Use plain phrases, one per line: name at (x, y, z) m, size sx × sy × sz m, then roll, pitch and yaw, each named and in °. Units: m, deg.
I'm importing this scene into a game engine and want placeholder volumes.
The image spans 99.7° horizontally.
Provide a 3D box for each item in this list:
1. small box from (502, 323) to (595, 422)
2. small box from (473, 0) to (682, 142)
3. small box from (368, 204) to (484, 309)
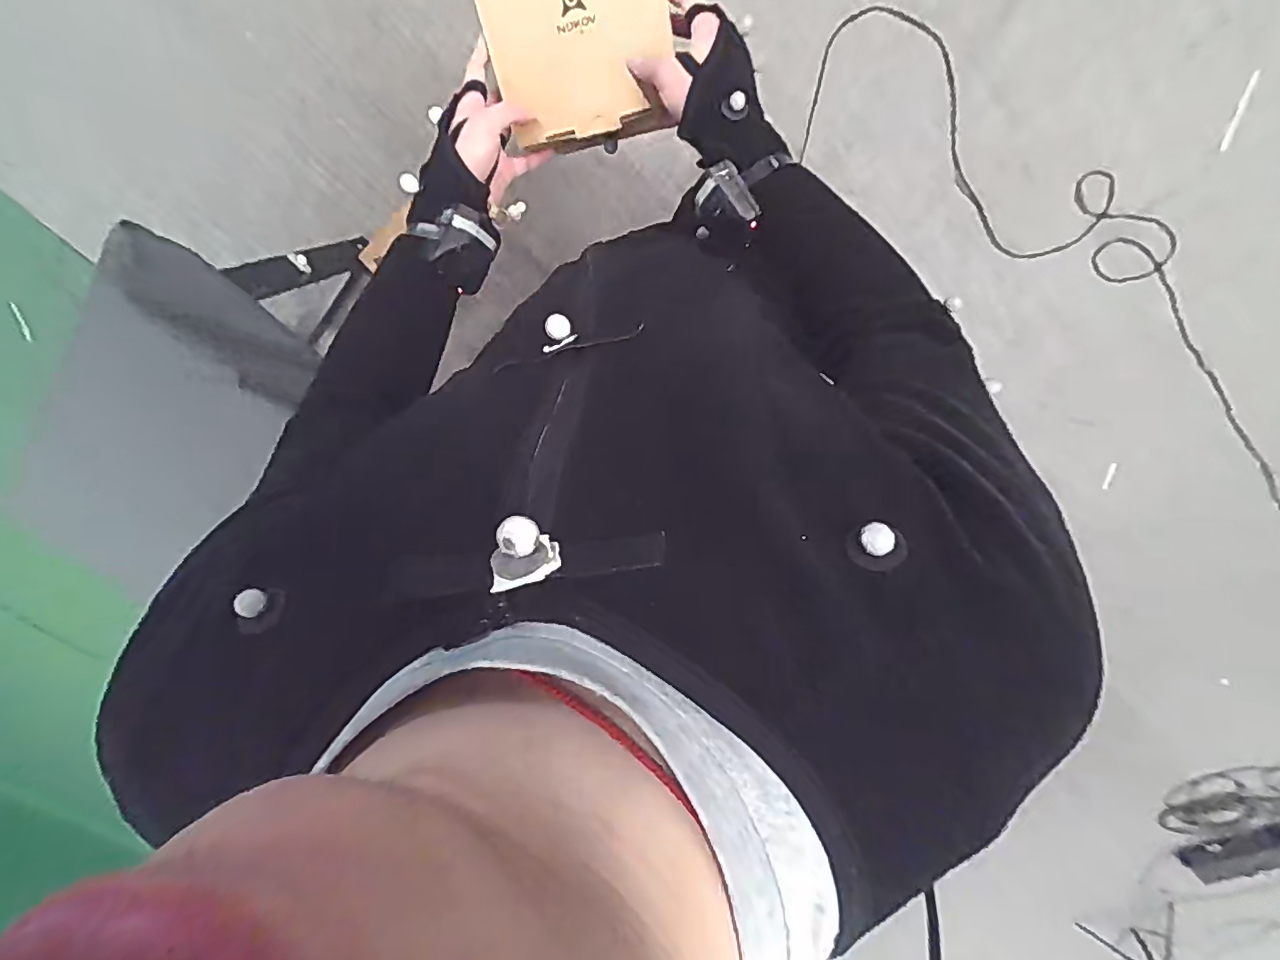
small box at (-0.237, -0.295, 1.461) m, size 0.179 × 0.176 × 0.168 m, roll -36°, pitch 109°, yaw 25°
small box at (-0.053, -0.449, 0.533) m, size 0.168 × 0.176 × 0.179 m, roll -8°, pitch 117°, yaw 11°
small box at (-0.519, -0.555, 1.338) m, size 0.179 × 0.176 × 0.168 m, roll -34°, pitch 111°, yaw 21°
